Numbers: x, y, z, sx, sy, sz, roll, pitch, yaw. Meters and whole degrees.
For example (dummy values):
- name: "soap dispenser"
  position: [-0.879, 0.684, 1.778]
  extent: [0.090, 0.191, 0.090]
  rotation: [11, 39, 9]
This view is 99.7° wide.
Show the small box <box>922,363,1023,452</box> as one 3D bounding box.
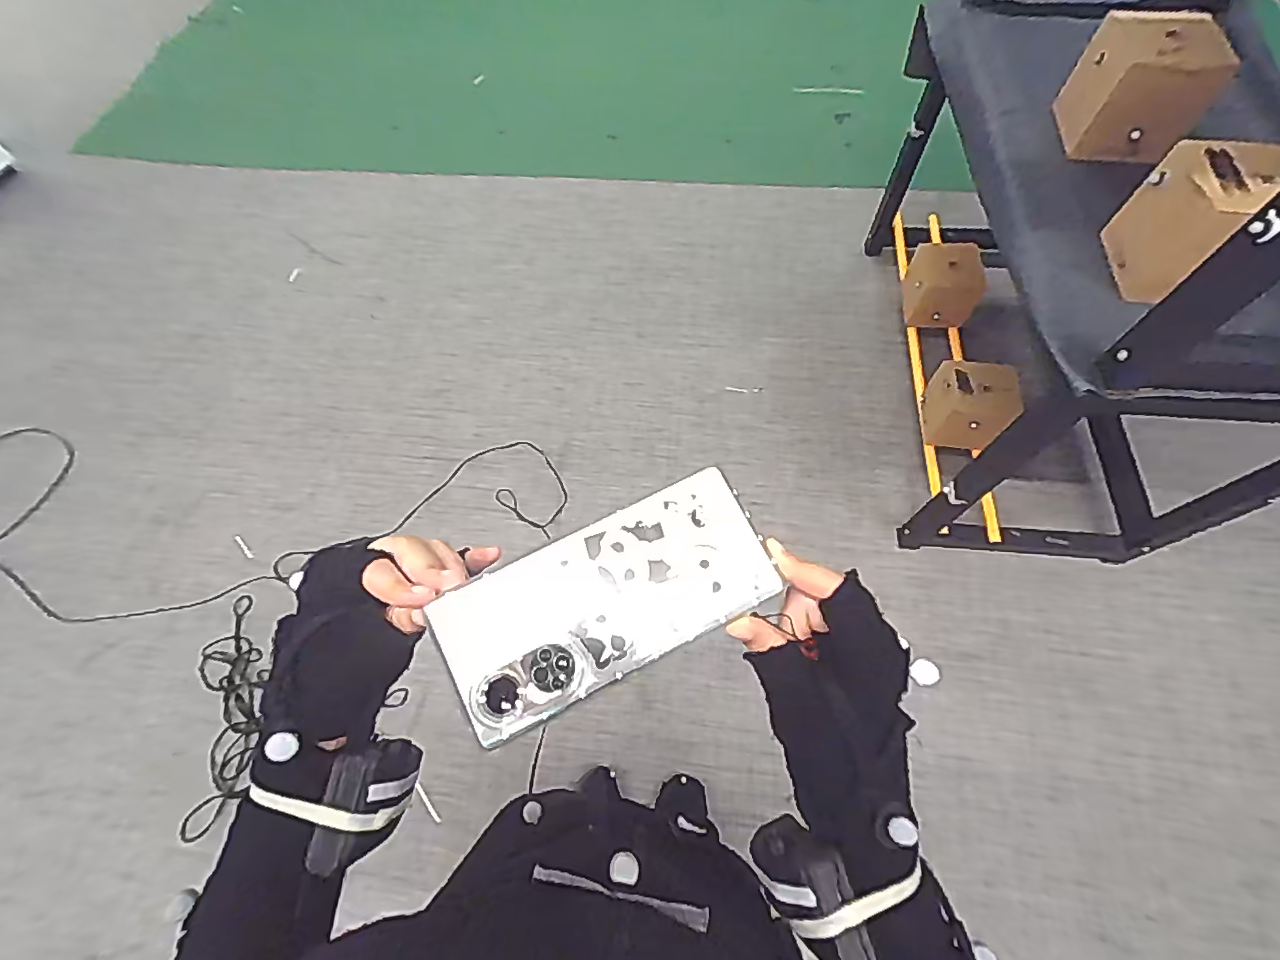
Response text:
- name: "small box"
  position: [0.871, -0.188, 1.437]
  extent: [0.179, 0.176, 0.168]
  rotation: [7, 64, 7]

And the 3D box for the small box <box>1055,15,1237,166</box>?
- name: "small box"
  position: [0.918, -0.721, 1.006]
  extent: [0.168, 0.176, 0.179]
  rotation: [7, 63, 6]
